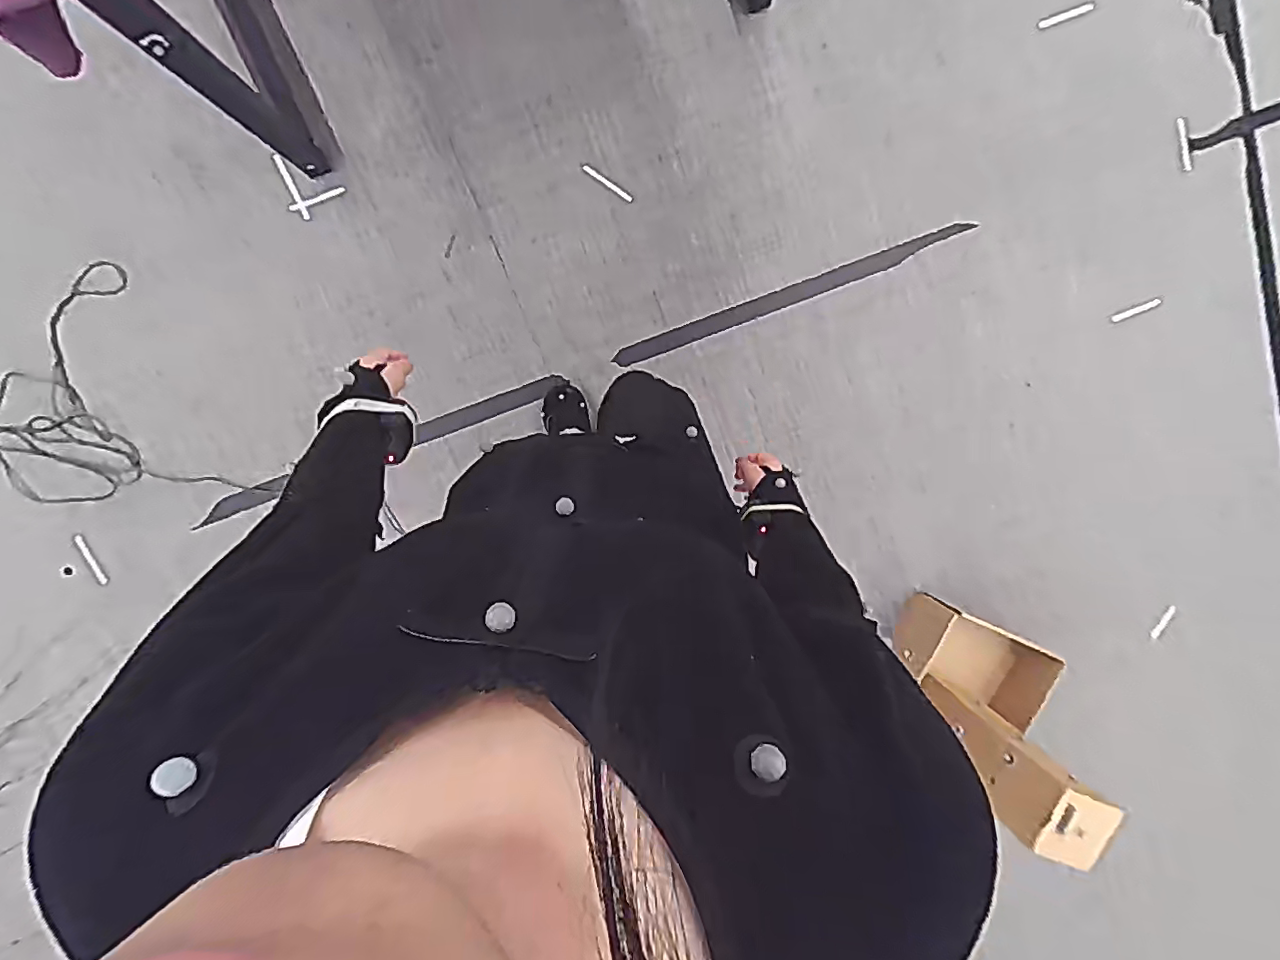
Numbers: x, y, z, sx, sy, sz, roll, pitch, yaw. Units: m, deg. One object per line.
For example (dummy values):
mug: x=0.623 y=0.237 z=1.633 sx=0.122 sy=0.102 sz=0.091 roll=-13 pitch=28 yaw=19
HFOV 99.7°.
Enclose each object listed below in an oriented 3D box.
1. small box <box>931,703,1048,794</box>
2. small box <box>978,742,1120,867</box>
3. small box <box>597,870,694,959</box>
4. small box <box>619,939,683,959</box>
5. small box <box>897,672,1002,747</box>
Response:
small box: x=0.927 y=0.727 z=1.435 sx=0.179 sy=0.176 sz=0.168 roll=26 pitch=95 yaw=-10
small box: x=0.952 y=0.755 z=1.275 sx=0.179 sy=0.176 sz=0.168 roll=24 pitch=96 yaw=-12
small box: x=0.002 y=1.092 z=1.294 sx=0.168 sy=0.176 sz=0.179 roll=28 pitch=96 yaw=-10
small box: x=0.019 y=1.128 z=1.134 sx=0.168 sy=0.176 sz=0.179 roll=29 pitch=95 yaw=-10
small box: x=0.908 y=0.697 z=1.594 sx=0.179 sy=0.176 sz=0.168 roll=27 pitch=95 yaw=-10
